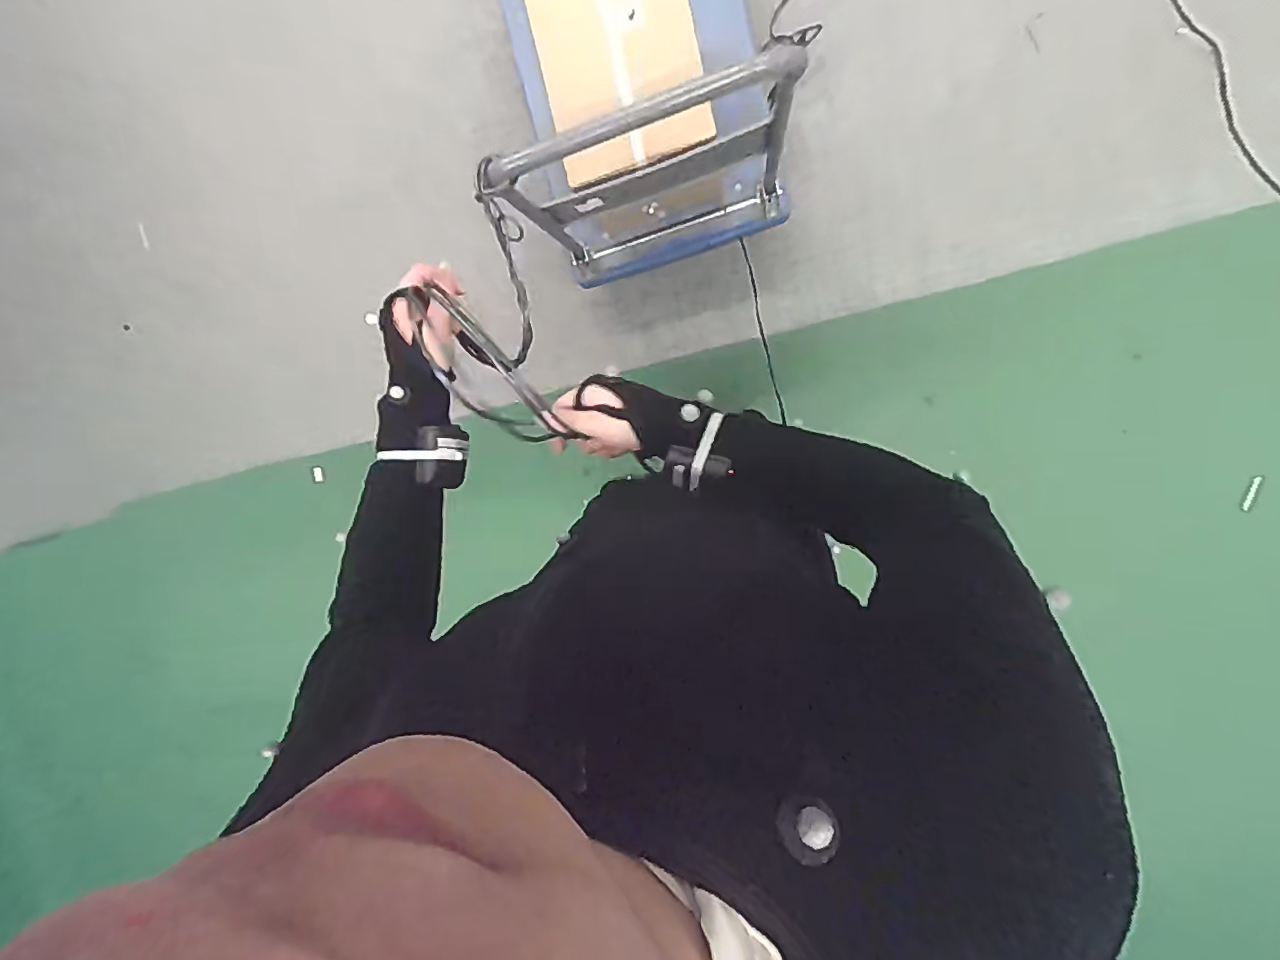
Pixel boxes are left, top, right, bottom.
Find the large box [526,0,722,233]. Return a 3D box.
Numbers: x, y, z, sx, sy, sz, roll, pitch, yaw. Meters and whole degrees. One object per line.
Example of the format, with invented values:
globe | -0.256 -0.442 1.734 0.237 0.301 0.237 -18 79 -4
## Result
large box | -0.014 -0.848 1.221 0.320 0.320 0.408 -12 94 12
